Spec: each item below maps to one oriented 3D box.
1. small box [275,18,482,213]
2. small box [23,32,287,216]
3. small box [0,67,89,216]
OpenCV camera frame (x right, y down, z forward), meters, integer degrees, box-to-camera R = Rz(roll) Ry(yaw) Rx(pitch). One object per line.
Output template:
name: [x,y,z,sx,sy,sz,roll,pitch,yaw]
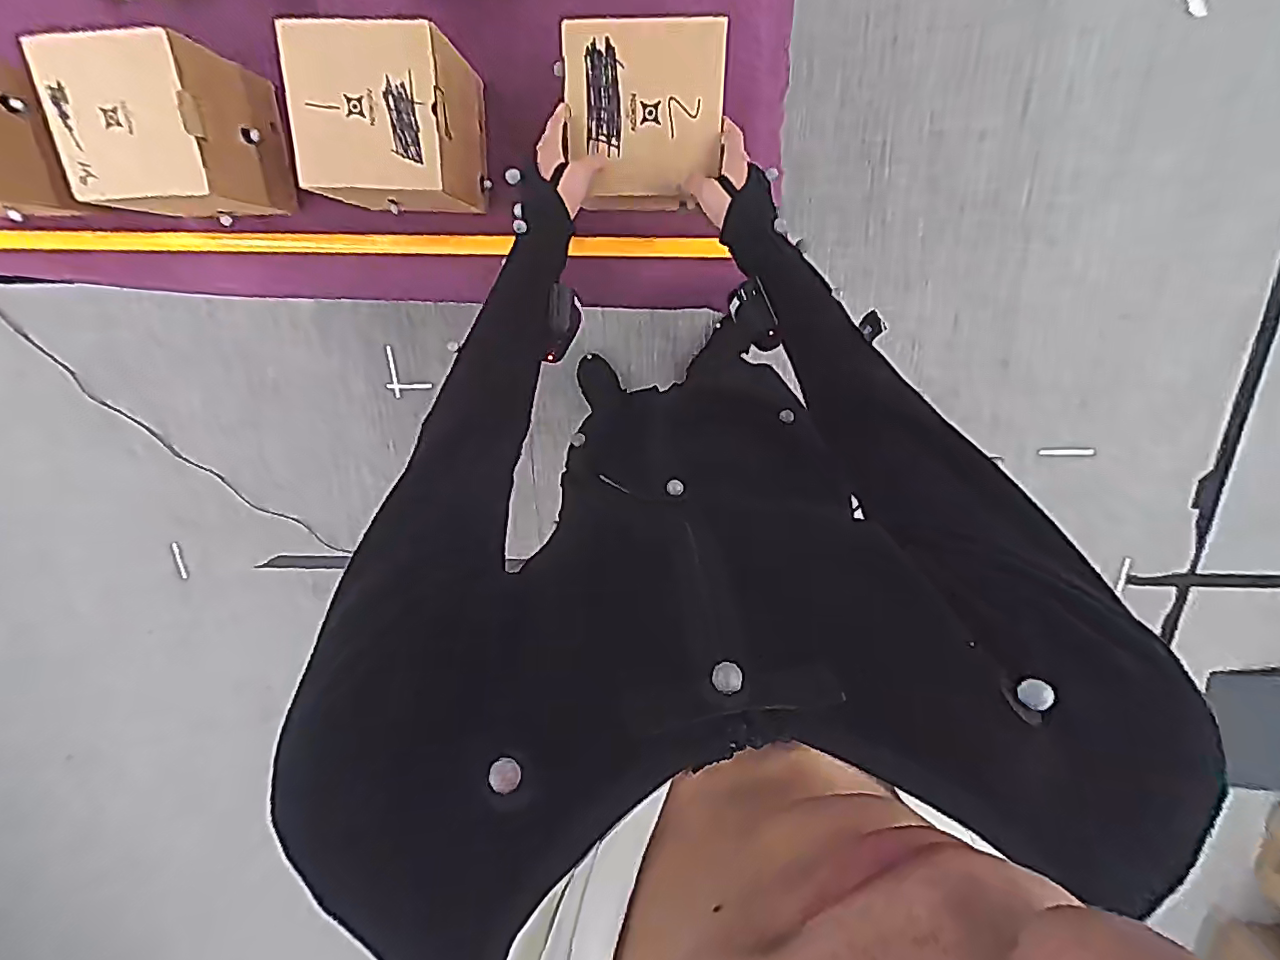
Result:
small box: [-0.308,-0.442,0.682,0.179,0.176,0.168,3,108,3]
small box: [-0.593,-0.442,0.697,0.179,0.176,0.168,0,109,3]
small box: [-0.888,-0.448,0.707,0.179,0.176,0.168,-1,109,1]
